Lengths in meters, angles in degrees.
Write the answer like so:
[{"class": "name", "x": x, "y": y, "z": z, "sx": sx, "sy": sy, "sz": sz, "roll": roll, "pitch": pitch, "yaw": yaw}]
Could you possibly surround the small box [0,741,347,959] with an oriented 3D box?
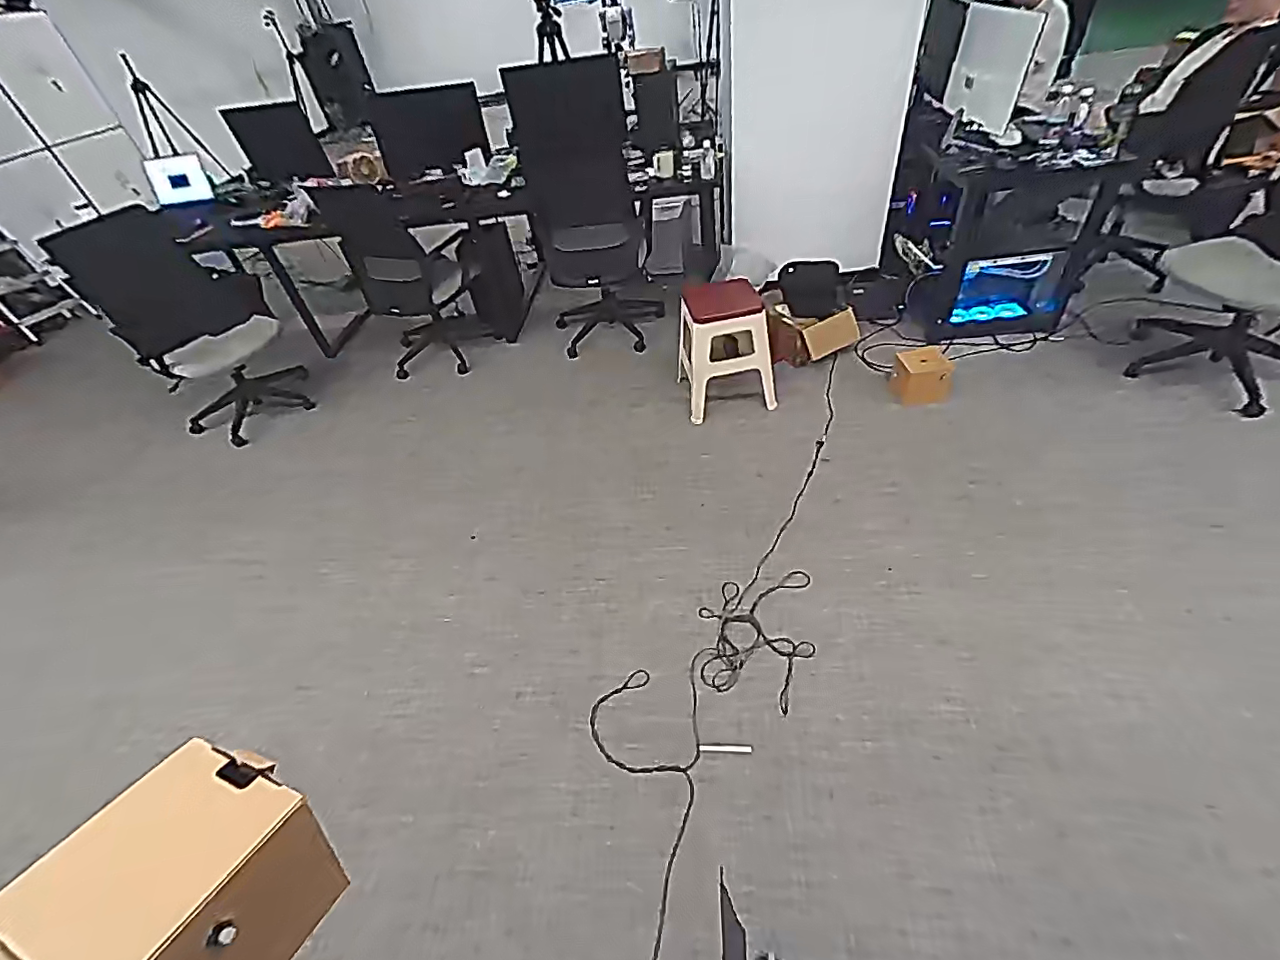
[{"class": "small box", "x": -0.421, "y": 0.400, "z": 0.516, "sx": 0.168, "sy": 0.176, "sz": 0.179, "roll": 12, "pitch": 31, "yaw": 20}]
